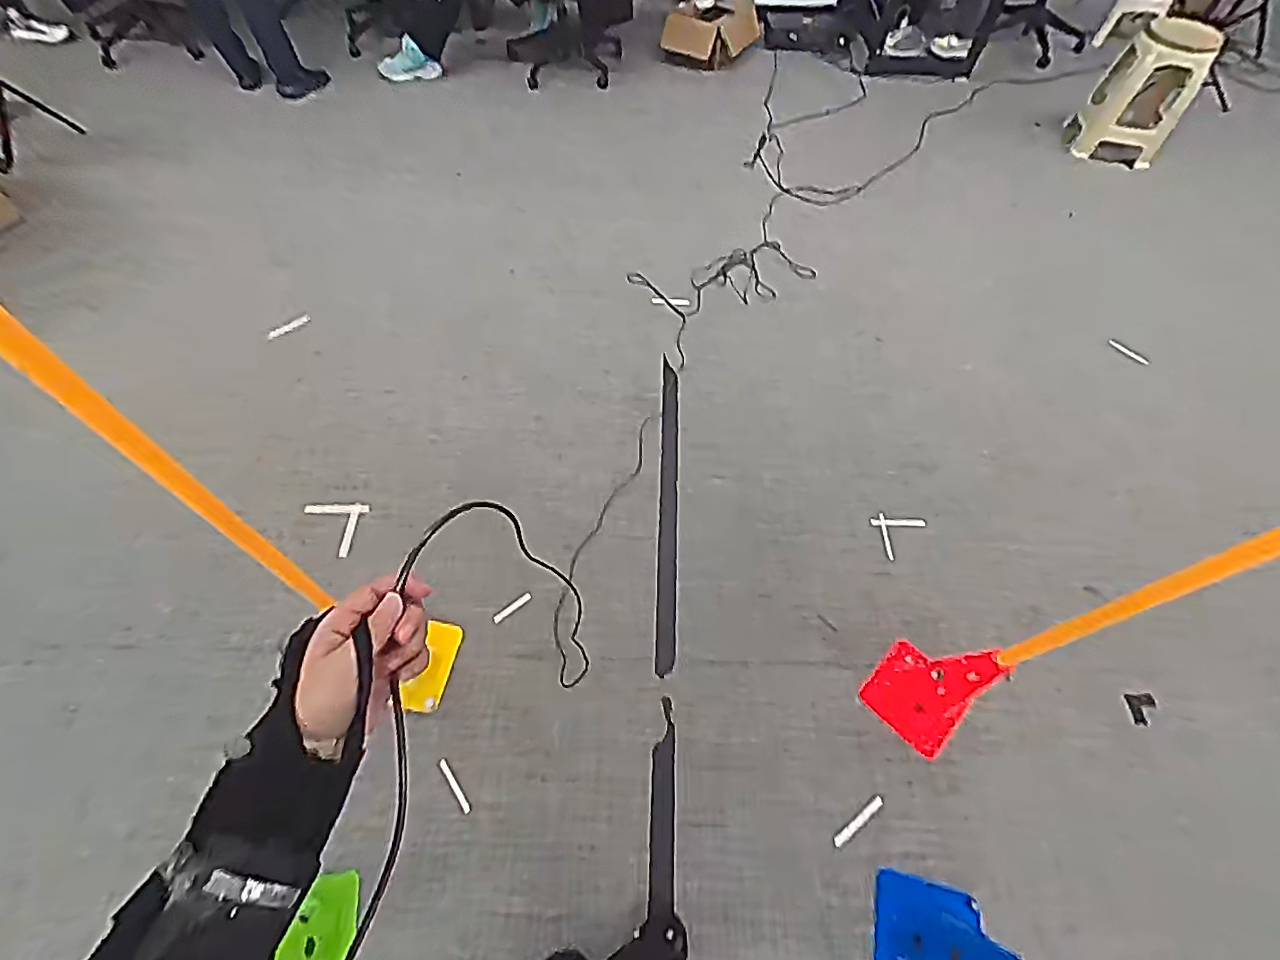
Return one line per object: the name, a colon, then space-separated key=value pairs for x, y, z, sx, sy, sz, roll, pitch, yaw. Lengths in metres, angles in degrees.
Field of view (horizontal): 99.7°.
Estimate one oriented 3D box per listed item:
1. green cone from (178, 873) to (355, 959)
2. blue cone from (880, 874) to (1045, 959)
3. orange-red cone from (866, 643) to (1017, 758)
green cone: x=-0.629 y=0.764 z=0.847 sx=0.200 sy=0.368 sz=0.202 roll=-9 pitch=57 yaw=-7
blue cone: x=0.552 y=0.786 z=0.881 sx=0.193 sy=0.380 sz=0.192 roll=15 pitch=58 yaw=8
orange-red cone: x=0.648 y=0.413 z=1.101 sx=0.199 sy=0.360 sz=0.198 roll=-38 pitch=65 yaw=-21
